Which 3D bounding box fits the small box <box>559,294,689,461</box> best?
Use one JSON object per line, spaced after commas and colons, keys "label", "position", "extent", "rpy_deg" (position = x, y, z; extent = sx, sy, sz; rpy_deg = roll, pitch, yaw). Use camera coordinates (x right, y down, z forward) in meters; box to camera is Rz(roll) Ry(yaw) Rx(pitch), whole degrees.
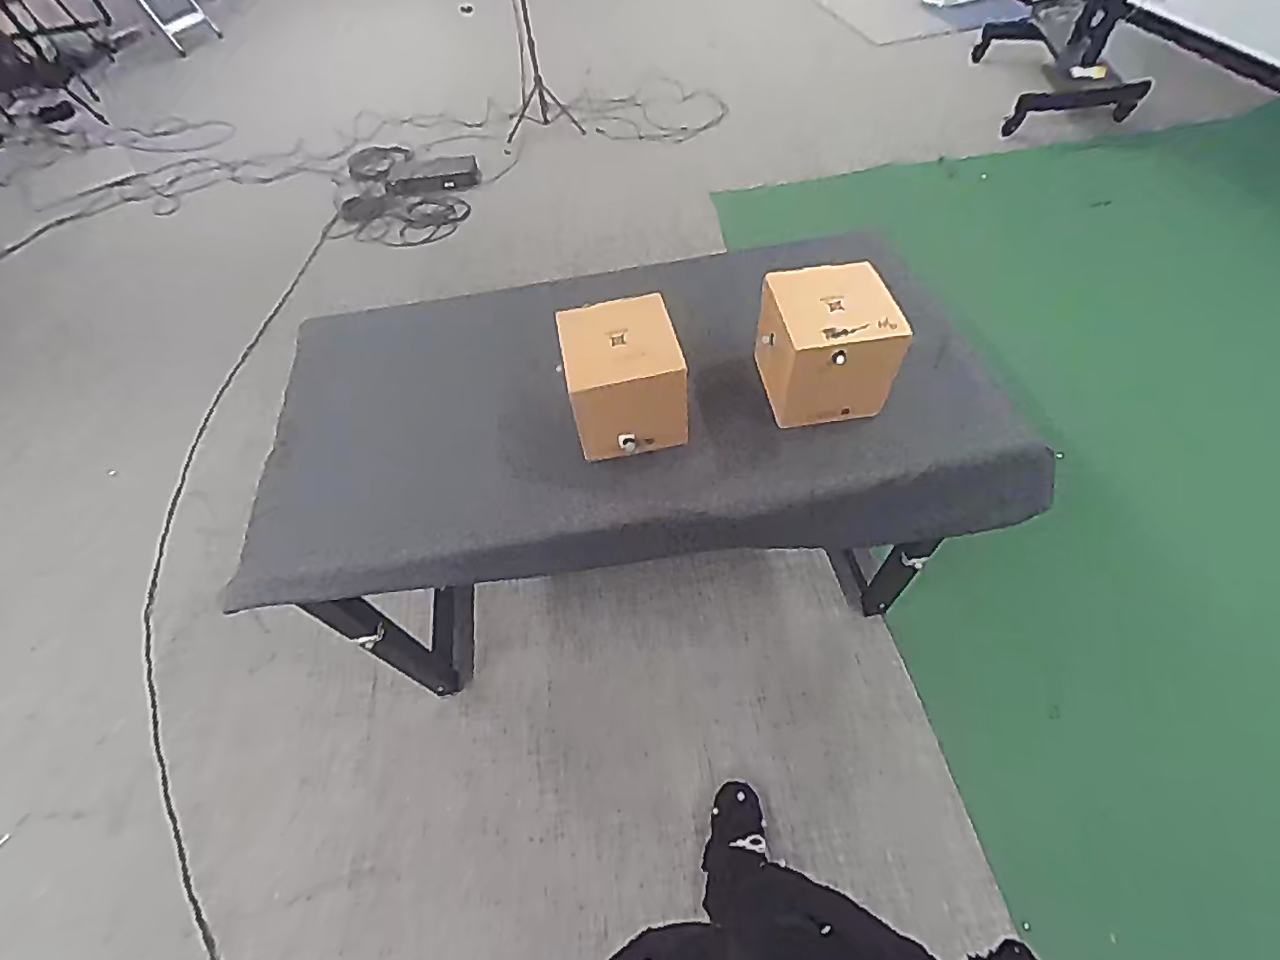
{"label": "small box", "position": [-0.024, -0.157, 0.847], "extent": [0.168, 0.176, 0.179], "rpy_deg": [-13, 56, -2]}

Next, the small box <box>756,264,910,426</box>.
{"label": "small box", "position": [0.288, -0.210, 0.854], "extent": [0.168, 0.176, 0.179], "rpy_deg": [-8, 54, 0]}
